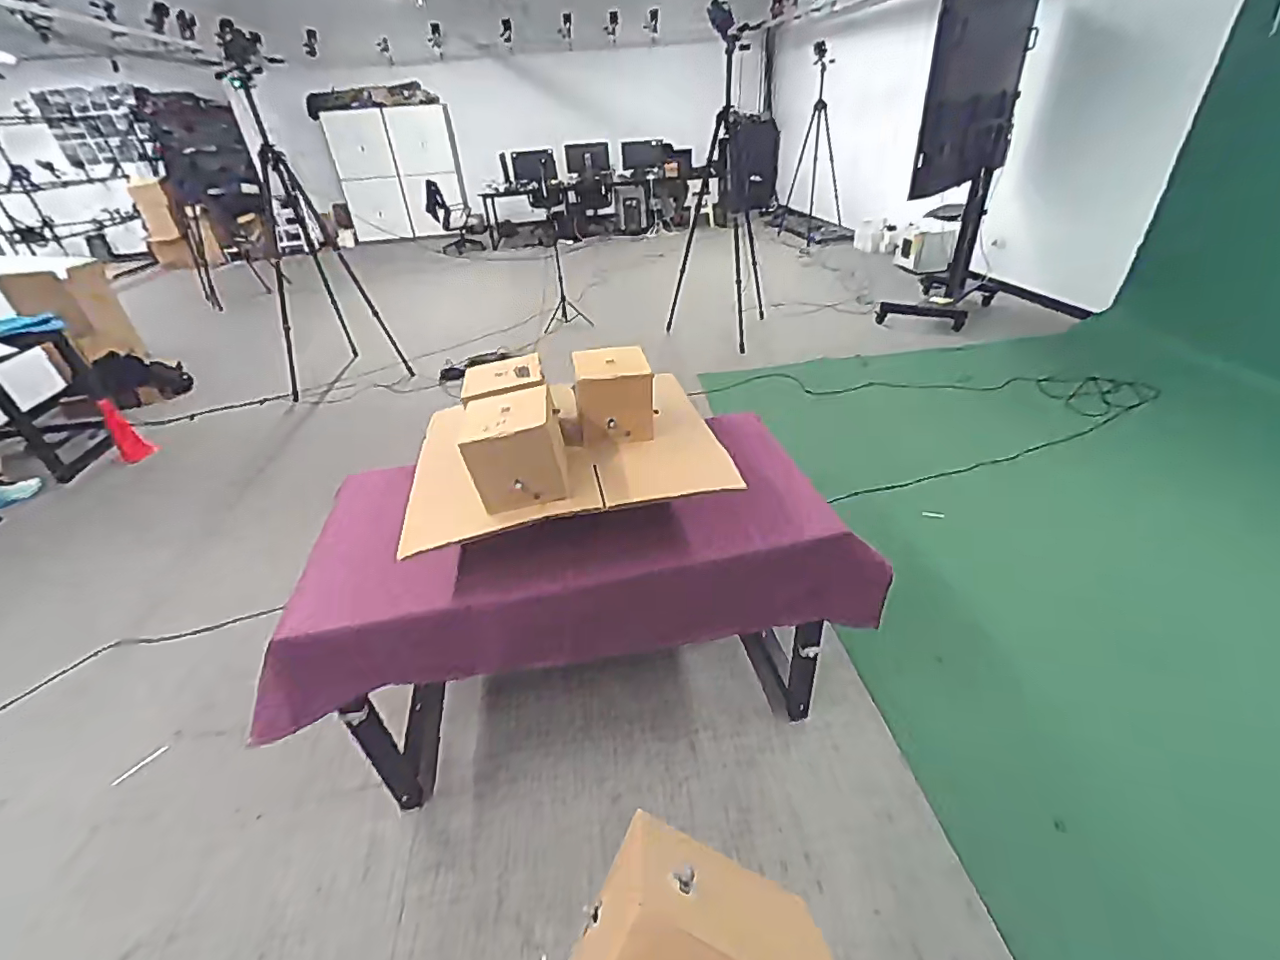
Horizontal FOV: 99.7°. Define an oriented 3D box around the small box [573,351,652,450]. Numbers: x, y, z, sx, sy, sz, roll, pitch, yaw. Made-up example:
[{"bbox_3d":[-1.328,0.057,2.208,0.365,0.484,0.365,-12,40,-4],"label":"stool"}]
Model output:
[{"bbox_3d":[-0.066,-0.188,1.271,0.168,0.176,0.179,-7,35,-7],"label":"small box"}]
